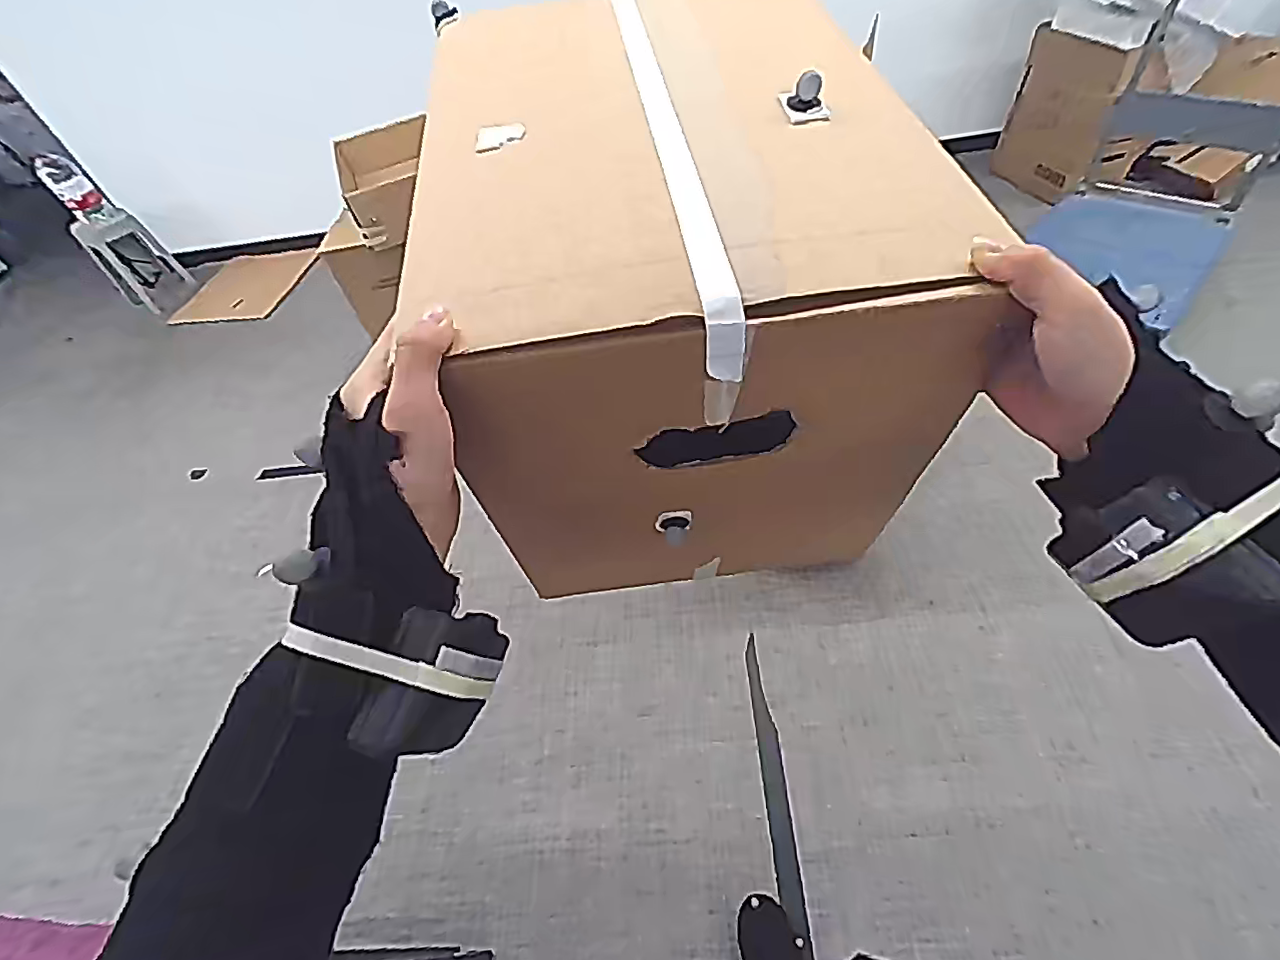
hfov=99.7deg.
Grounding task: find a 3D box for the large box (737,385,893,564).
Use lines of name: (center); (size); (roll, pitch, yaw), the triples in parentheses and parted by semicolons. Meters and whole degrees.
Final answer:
large box: (0.469, -0.016, 1.559); (0.320, 0.320, 0.408); (-7, 50, 4)
